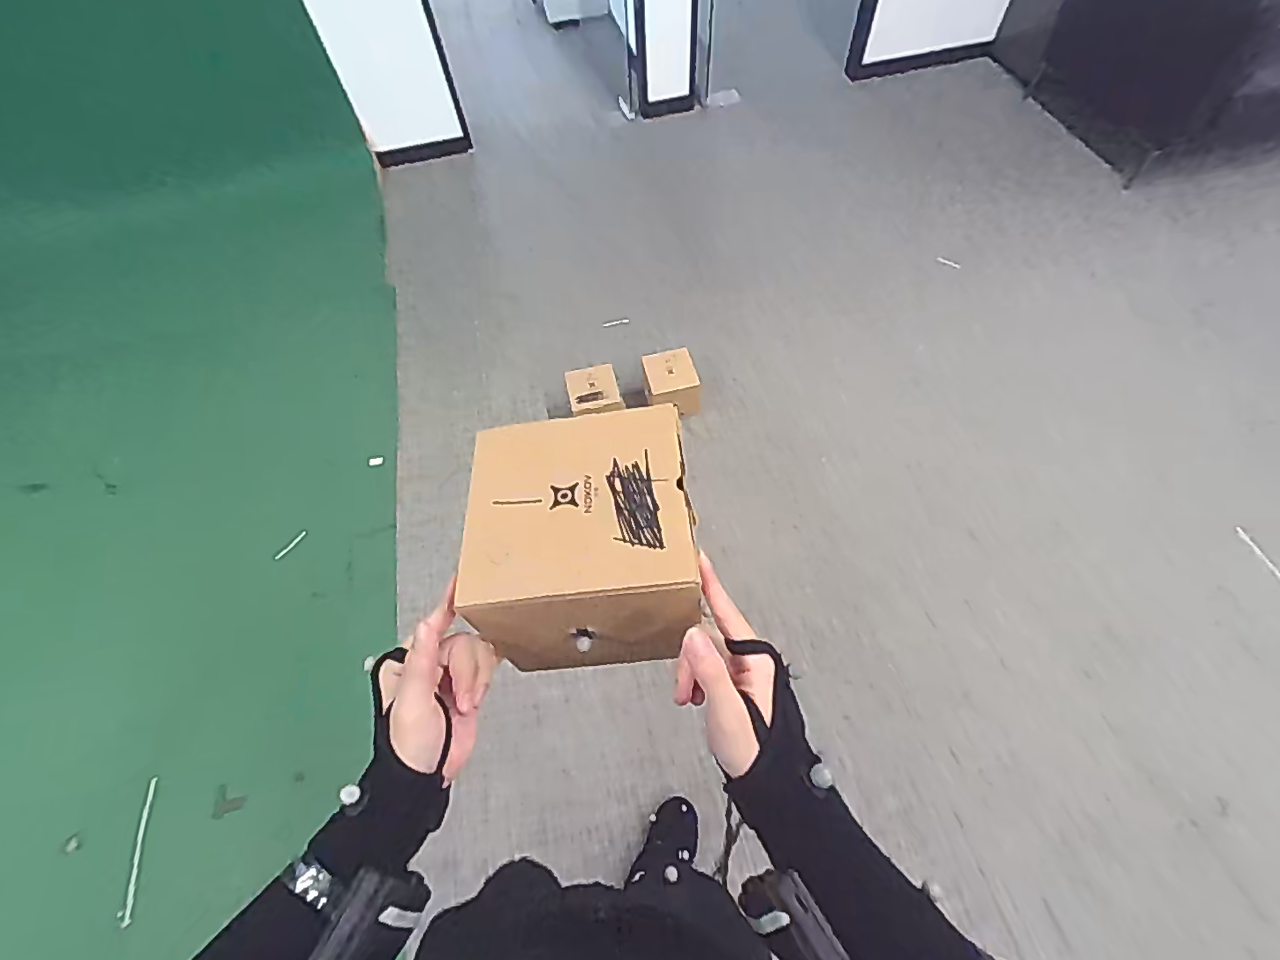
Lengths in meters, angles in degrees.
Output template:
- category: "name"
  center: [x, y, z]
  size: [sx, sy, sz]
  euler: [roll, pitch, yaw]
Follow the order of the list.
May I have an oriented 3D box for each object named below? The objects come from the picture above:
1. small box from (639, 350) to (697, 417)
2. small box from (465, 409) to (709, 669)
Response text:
- category: "small box"
  center: [0.098, -0.321, 1.897]
  size: [0.168, 0.176, 0.179]
  euler: [-13, 60, -5]
- category: "small box"
  center: [-0.035, 0.060, 0.489]
  size: [0.179, 0.176, 0.168]
  euler: [-7, 54, 3]
